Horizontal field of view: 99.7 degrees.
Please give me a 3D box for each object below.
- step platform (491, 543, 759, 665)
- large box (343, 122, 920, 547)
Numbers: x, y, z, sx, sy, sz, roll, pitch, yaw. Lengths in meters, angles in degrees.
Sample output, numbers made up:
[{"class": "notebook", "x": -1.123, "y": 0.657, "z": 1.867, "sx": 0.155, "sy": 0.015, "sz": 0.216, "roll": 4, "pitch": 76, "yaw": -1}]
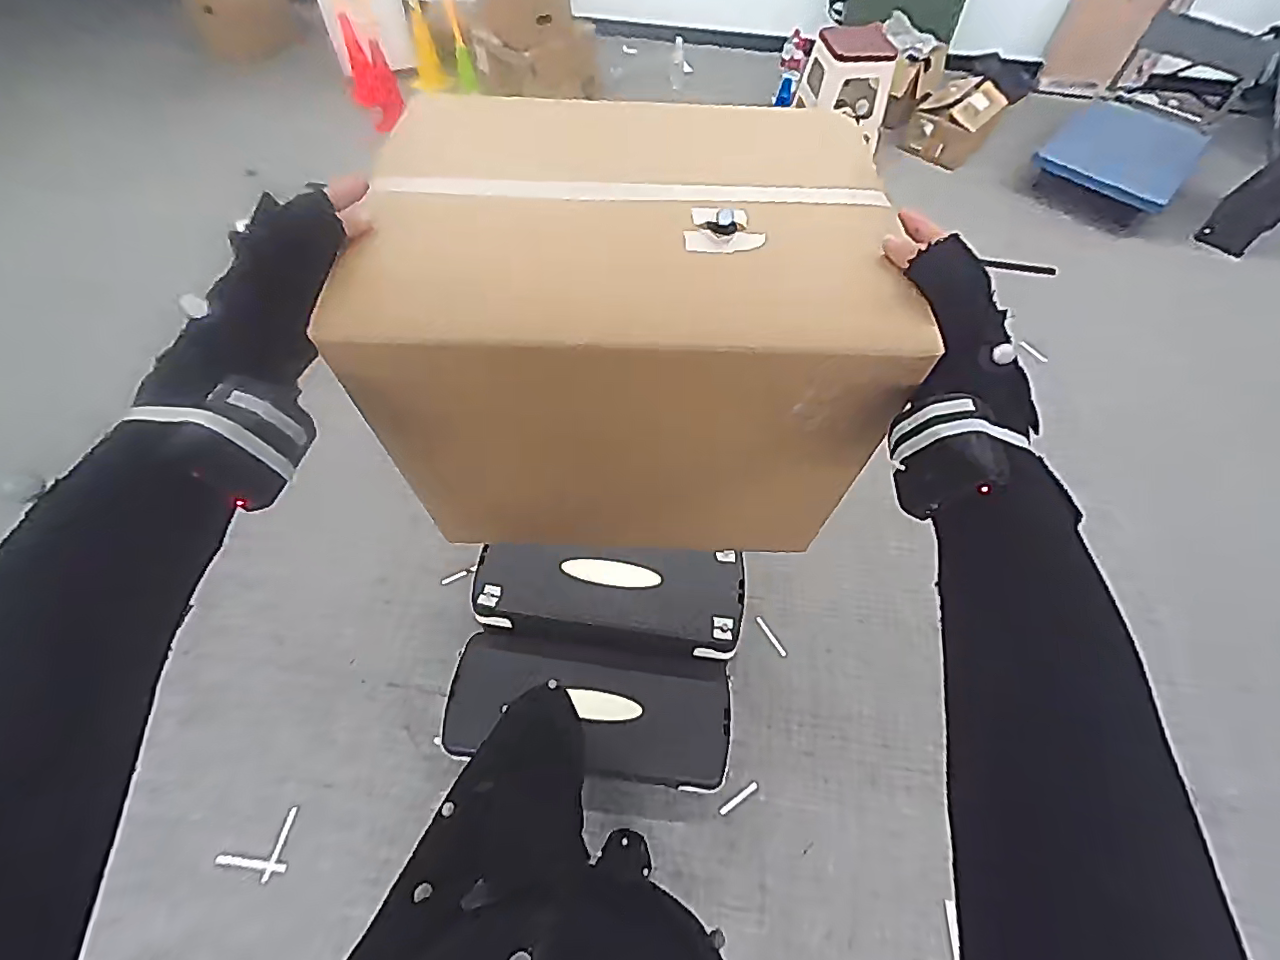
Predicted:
[{"class": "step platform", "x": -0.035, "y": 0.283, "z": 1.426, "sx": 0.684, "sy": 0.204, "sz": 0.286, "roll": 8, "pitch": 58, "yaw": 2}, {"class": "large box", "x": -0.009, "y": -0.132, "z": 0.569, "sx": 0.408, "sy": 0.320, "sz": 0.320, "roll": 2, "pitch": 59, "yaw": -1}]
